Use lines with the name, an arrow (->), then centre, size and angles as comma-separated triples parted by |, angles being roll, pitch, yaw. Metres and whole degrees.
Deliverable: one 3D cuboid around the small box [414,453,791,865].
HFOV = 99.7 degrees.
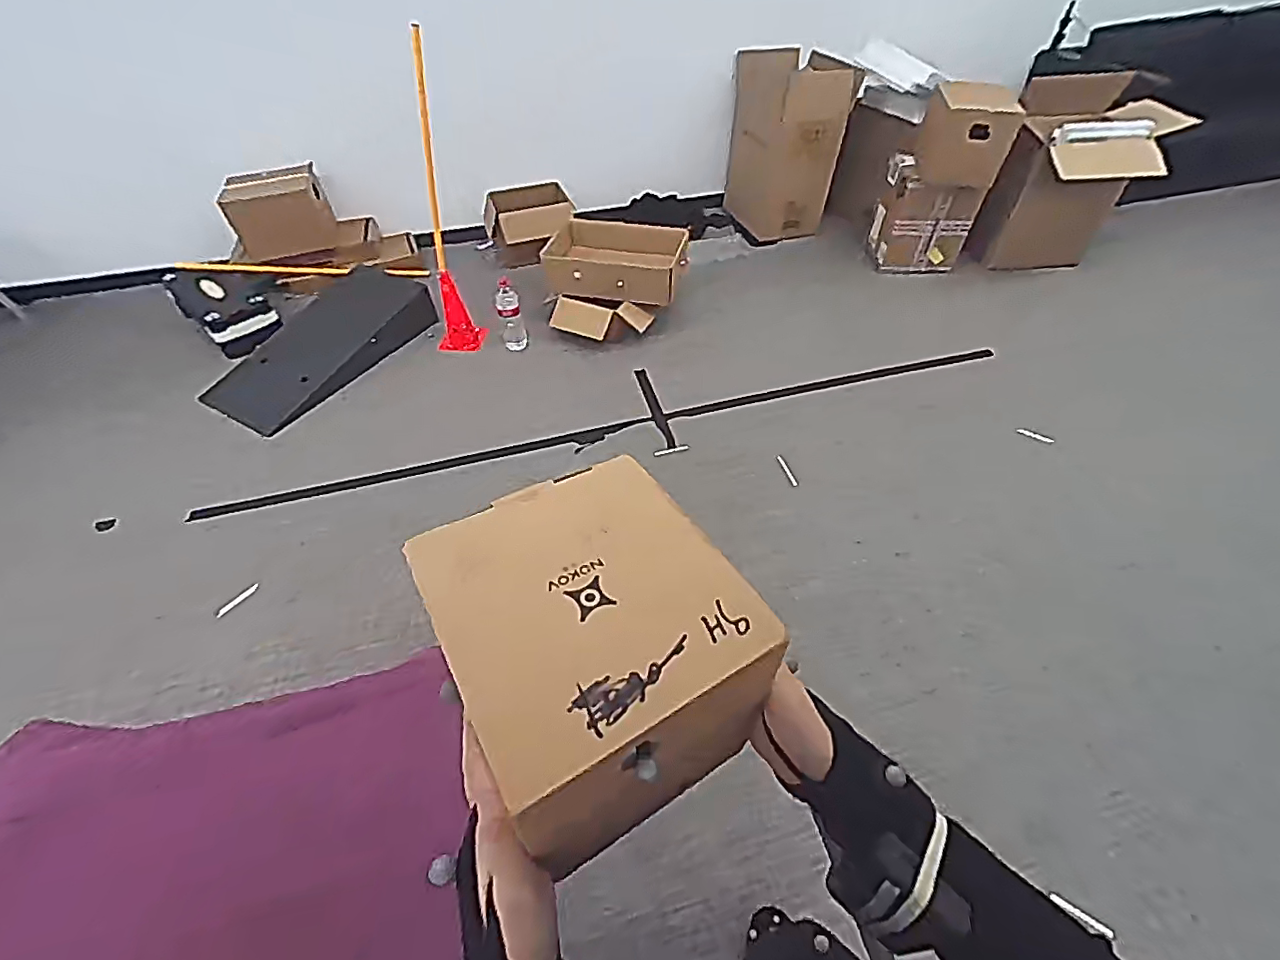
small box -> -0.030, 0.116, 0.371 | 0.168, 0.176, 0.179 | -24, 49, -22
